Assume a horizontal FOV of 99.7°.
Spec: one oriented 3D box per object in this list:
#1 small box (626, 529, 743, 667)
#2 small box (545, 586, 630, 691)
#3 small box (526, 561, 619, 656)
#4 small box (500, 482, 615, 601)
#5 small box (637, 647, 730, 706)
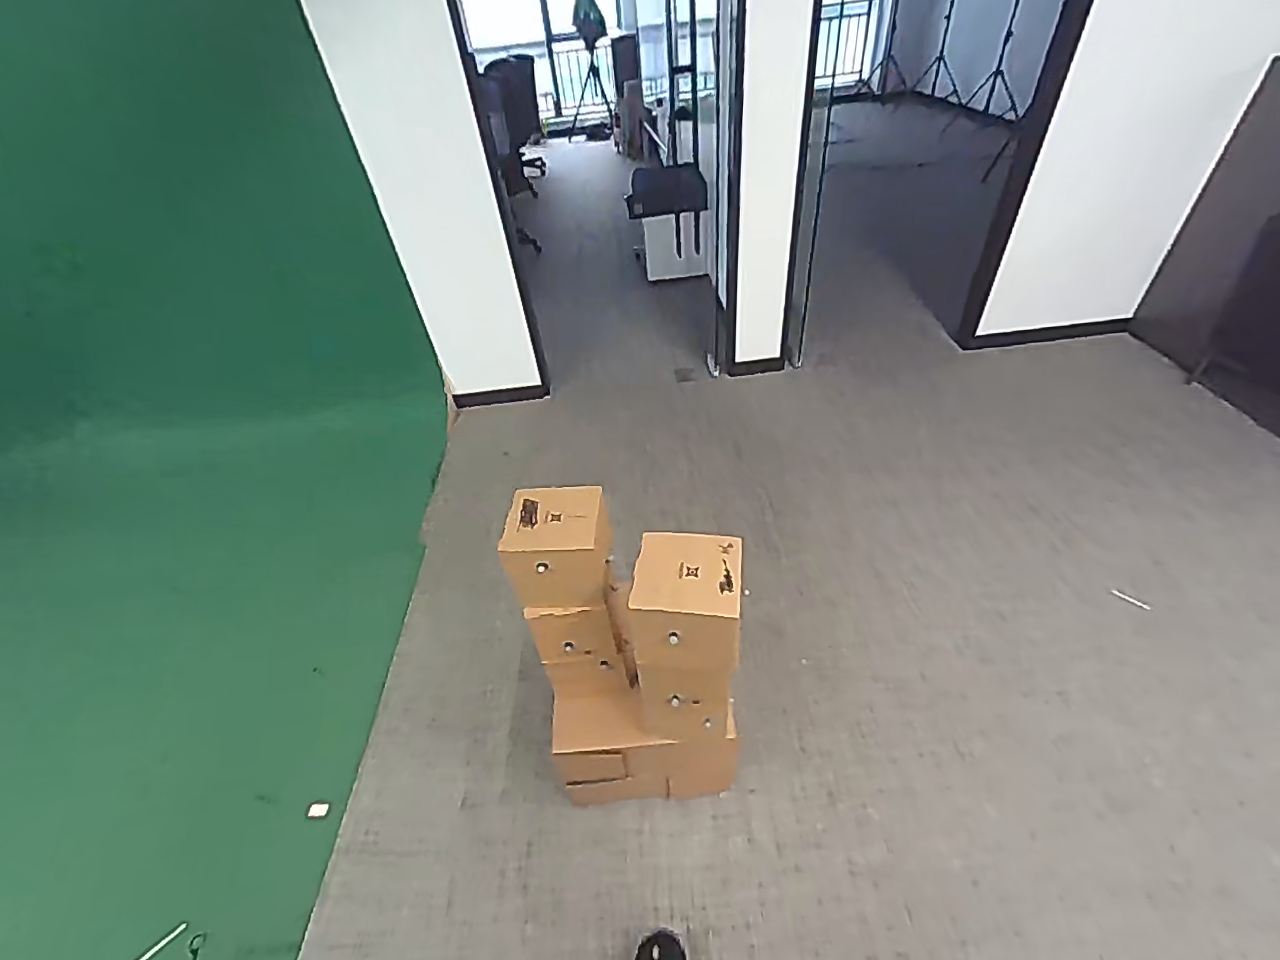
[{"bbox_3d":[0.086,0.204,0.934,0.179,0.176,0.168,2,43,12],"label":"small box"},{"bbox_3d":[-0.117,0.374,1.268,0.179,0.176,0.168,-7,40,0],"label":"small box"},{"bbox_3d":[-0.136,0.253,1.161,0.168,0.176,0.179,-6,42,2],"label":"small box"},{"bbox_3d":[-0.152,0.123,1.060,0.179,0.176,0.168,-2,42,5],"label":"small box"},{"bbox_3d":[0.089,0.315,1.056,0.168,0.176,0.179,0,42,7],"label":"small box"}]
